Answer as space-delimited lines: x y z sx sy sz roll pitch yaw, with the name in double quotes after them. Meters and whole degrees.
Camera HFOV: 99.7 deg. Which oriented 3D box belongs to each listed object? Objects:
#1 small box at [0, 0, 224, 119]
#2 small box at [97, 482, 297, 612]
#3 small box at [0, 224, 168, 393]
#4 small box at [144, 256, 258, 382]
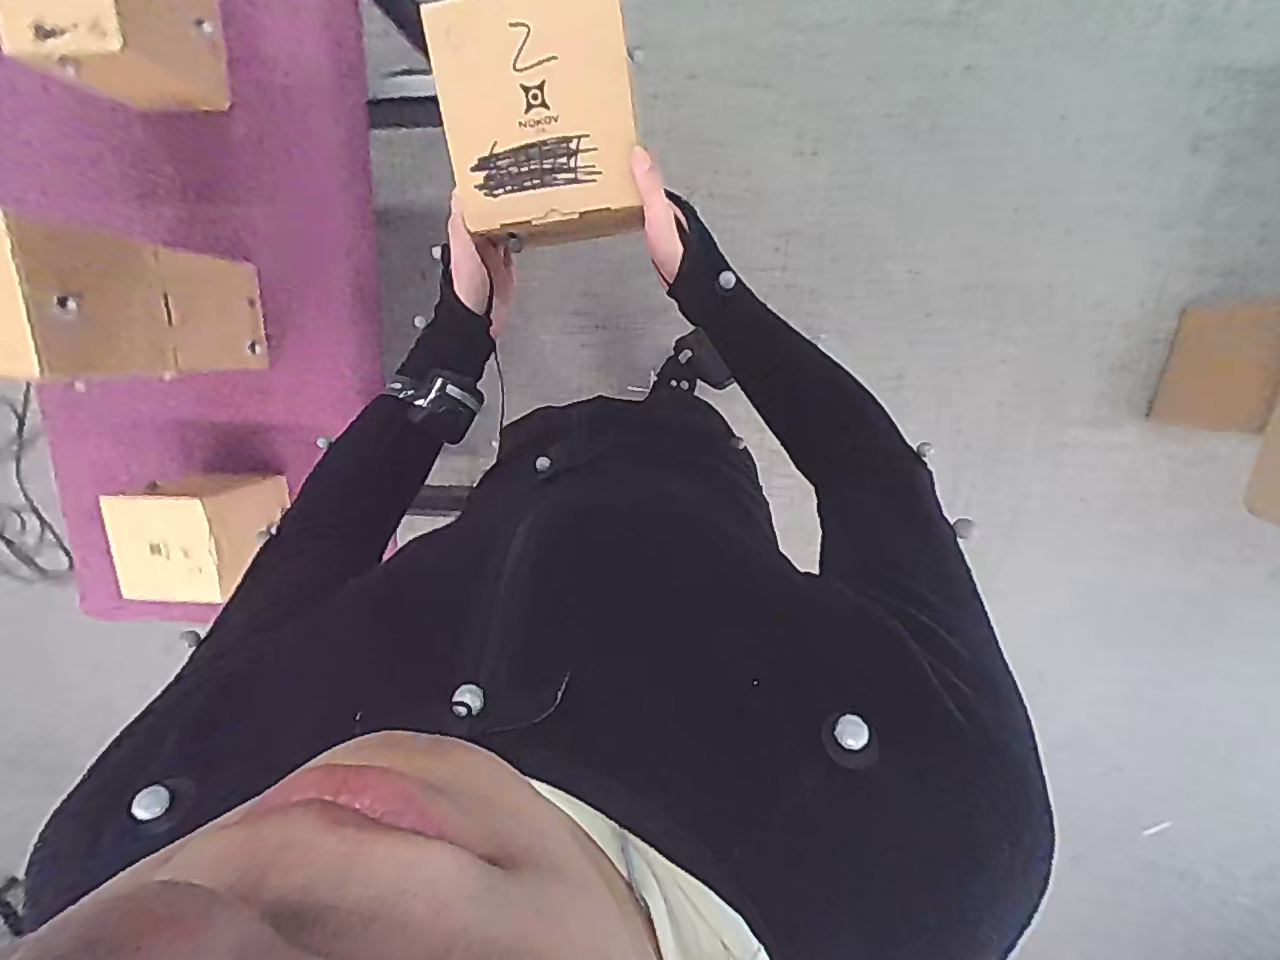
-0.707 -0.617 0.723 0.168 0.176 0.179 3 103 5 "small box"
-0.710 0.102 0.887 0.179 0.176 0.168 0 103 5 "small box"
-0.725 -0.200 0.653 0.168 0.176 0.179 1 102 4 "small box"
-0.714 -0.236 0.811 0.179 0.176 0.168 1 103 6 "small box"
